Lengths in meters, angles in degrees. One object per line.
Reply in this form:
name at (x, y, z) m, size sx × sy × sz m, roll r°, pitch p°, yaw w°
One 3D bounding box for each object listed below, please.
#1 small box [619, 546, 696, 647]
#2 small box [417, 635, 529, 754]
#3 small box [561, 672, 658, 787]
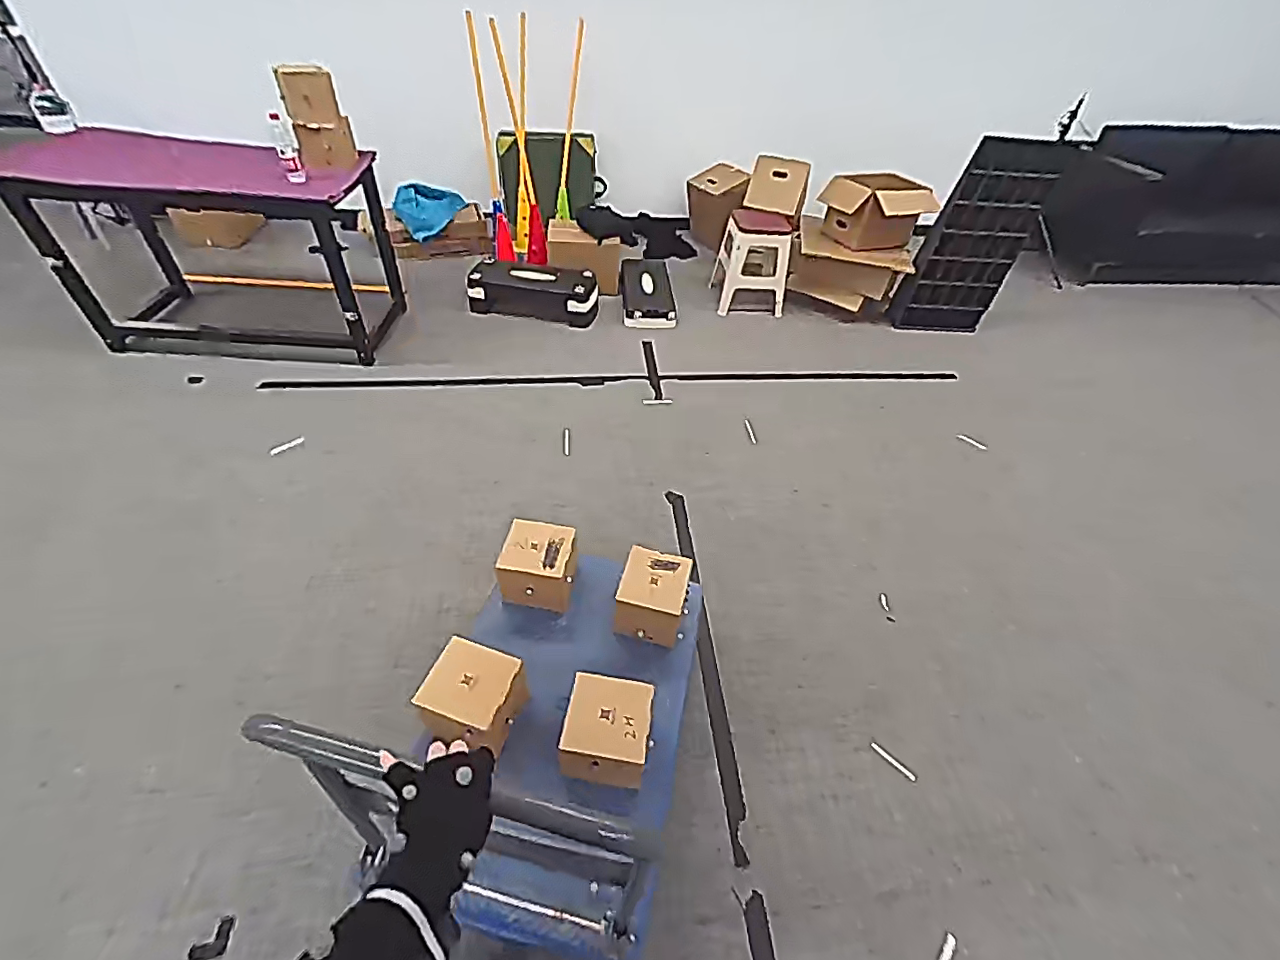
small box at (0.043, 0.308, 1.429) m, size 0.168 × 0.176 × 0.179 m, roll 13°, pitch 46°, yaw 8°
small box at (-0.365, 0.485, 1.214) m, size 0.179 × 0.176 × 0.168 m, roll 17°, pitch 46°, yaw 9°
small box at (-0.064, 0.546, 1.180) m, size 0.179 × 0.176 × 0.168 m, roll 9°, pitch 45°, yaw 4°
